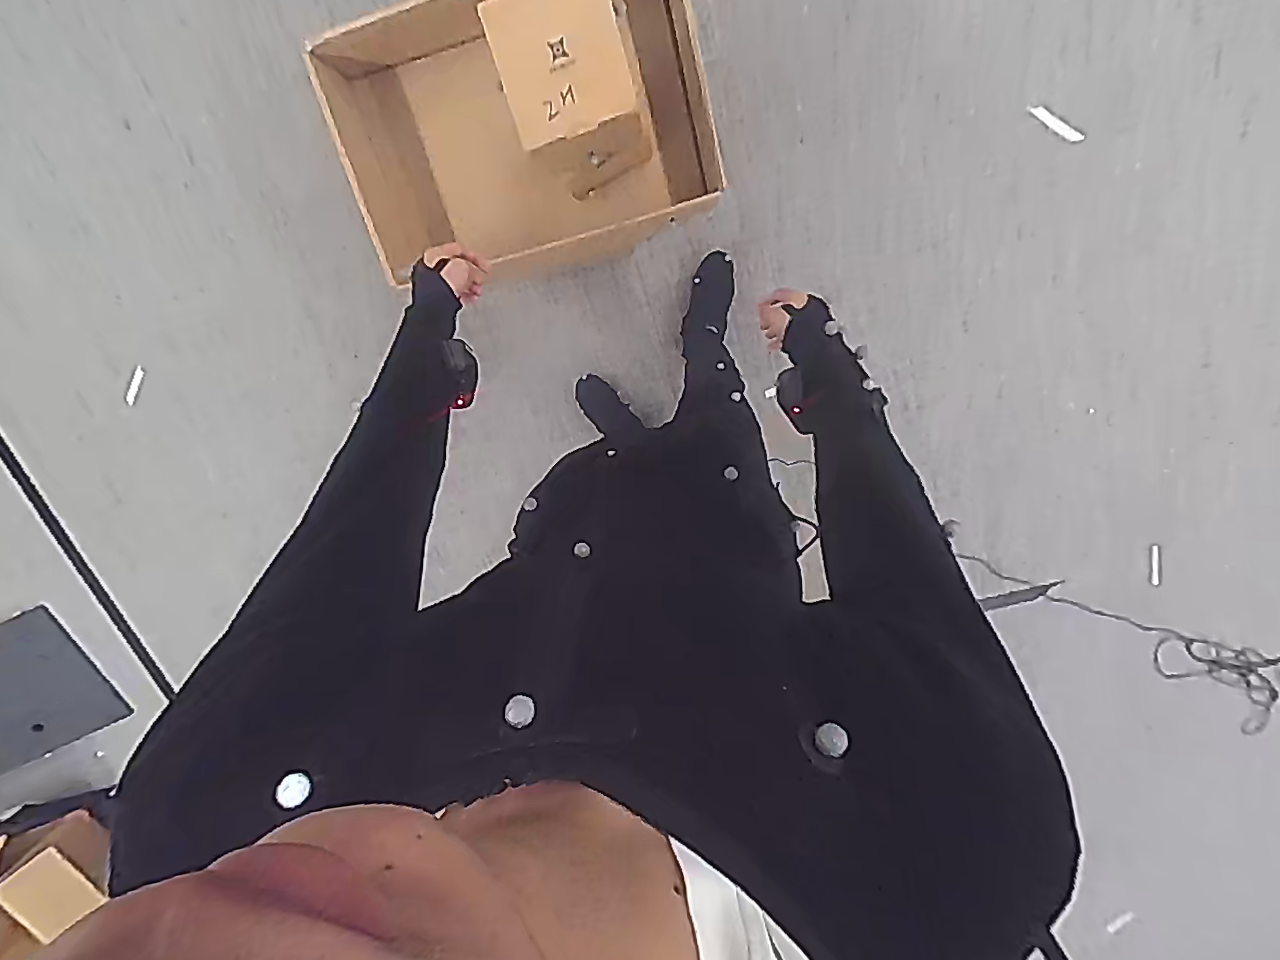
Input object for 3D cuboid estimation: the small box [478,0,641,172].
[{"bbox_3d":[-0.101,-0.570,0.767,0.168,0.176,0.179,-16,108,8],"label":"small box"}]
